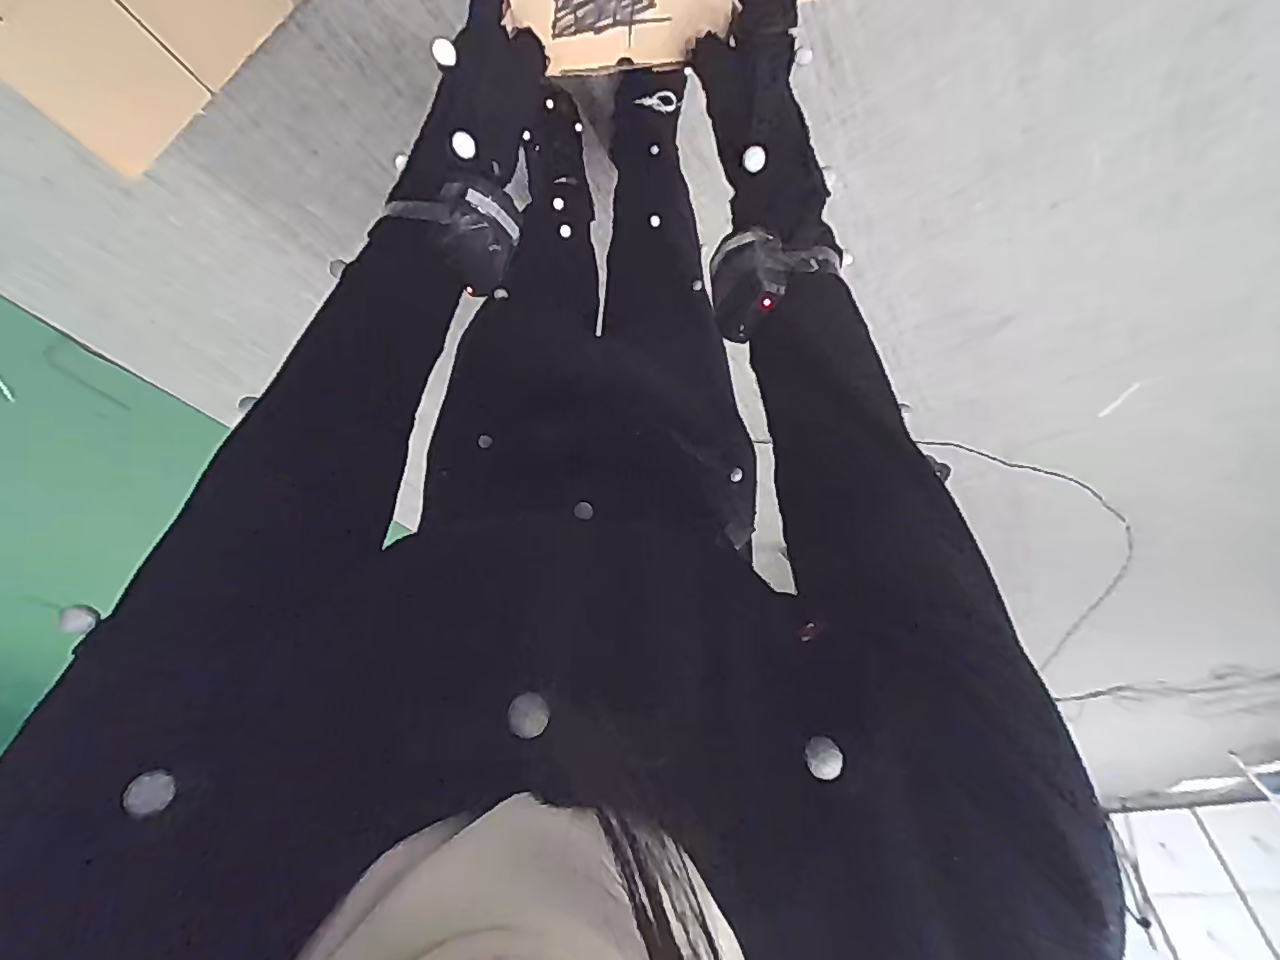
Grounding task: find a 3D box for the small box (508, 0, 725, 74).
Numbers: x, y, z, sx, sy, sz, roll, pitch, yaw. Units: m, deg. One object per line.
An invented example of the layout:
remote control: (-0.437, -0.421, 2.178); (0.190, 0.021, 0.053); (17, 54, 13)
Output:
small box: (-0.019, -0.447, 0.422); (0.168, 0.176, 0.179); (-2, 137, 2)
